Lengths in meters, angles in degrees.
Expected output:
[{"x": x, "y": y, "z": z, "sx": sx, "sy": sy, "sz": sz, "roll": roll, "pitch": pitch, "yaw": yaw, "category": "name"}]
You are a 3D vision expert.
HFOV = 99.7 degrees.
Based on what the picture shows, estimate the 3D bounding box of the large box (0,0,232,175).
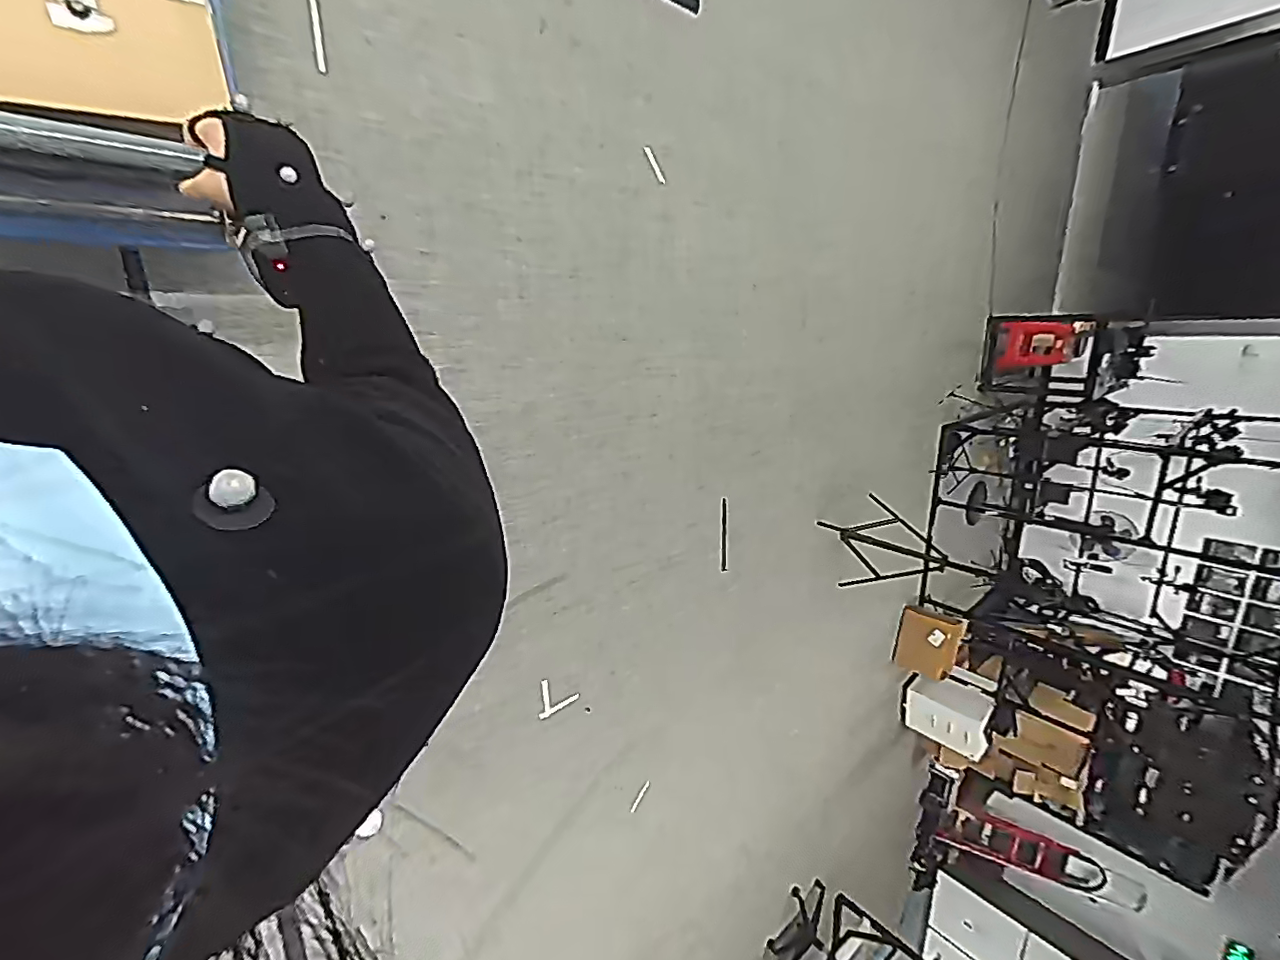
[{"x": -0.845, "y": -0.624, "z": 0.716, "sx": 0.408, "sy": 0.320, "sz": 0.320, "roll": -19, "pitch": 114, "yaw": -40, "category": "large box"}]
